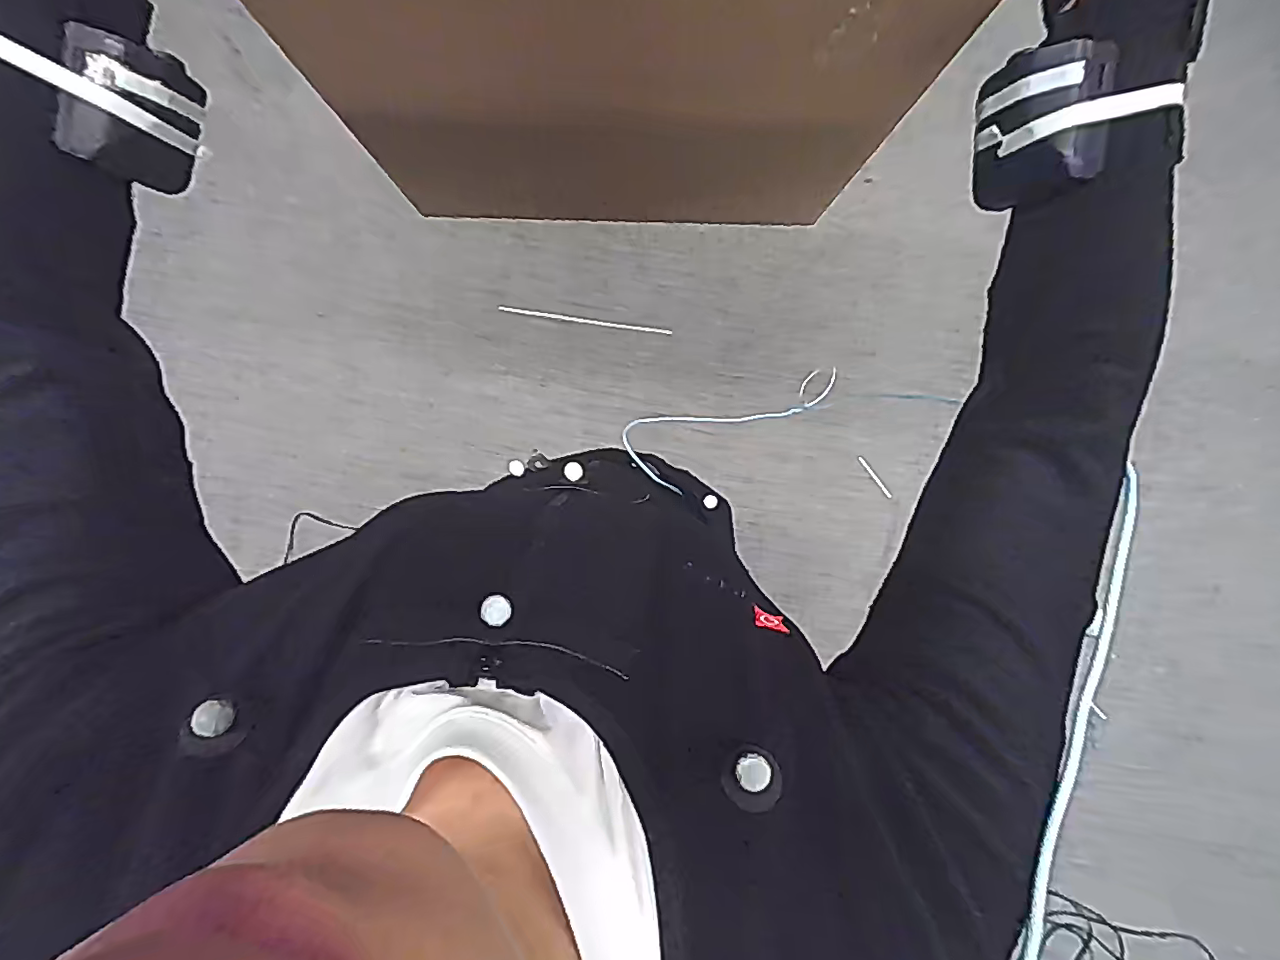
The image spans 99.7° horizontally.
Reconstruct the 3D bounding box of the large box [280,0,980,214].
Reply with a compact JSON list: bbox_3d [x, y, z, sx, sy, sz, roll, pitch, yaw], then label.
[{"bbox_3d":[-0.011,-0.418,0.399,0.408,0.320,0.320,0,93,-3],"label":"large box"}]
